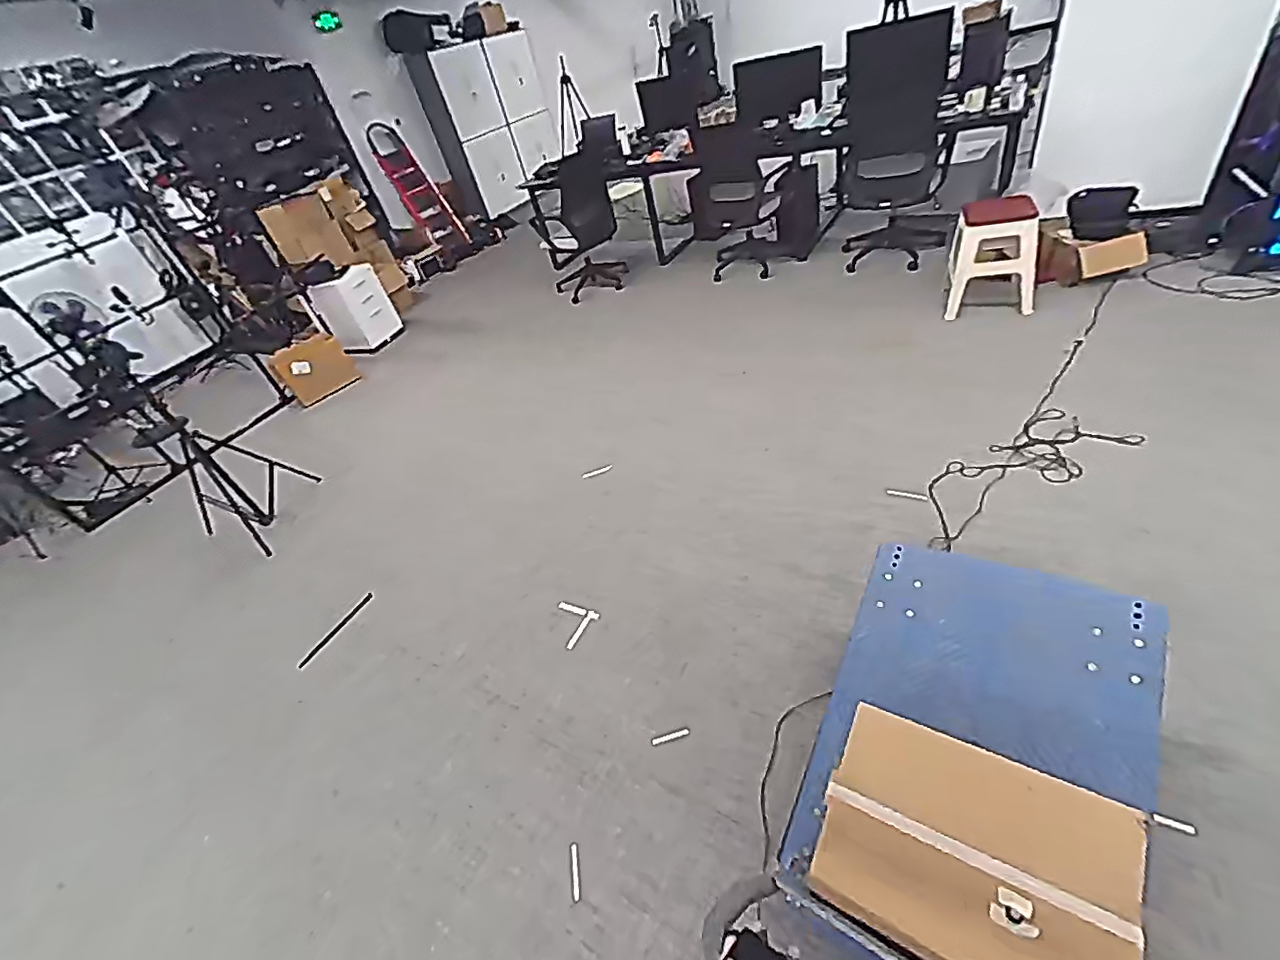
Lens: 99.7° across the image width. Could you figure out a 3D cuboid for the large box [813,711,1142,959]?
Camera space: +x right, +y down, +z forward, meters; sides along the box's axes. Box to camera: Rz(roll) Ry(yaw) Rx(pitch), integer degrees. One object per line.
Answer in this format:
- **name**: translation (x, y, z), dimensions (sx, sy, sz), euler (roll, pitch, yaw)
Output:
- **large box**: translation (0.556, 0.663, 0.945), dimensions (0.408, 0.320, 0.320), euler (13, 63, 32)
